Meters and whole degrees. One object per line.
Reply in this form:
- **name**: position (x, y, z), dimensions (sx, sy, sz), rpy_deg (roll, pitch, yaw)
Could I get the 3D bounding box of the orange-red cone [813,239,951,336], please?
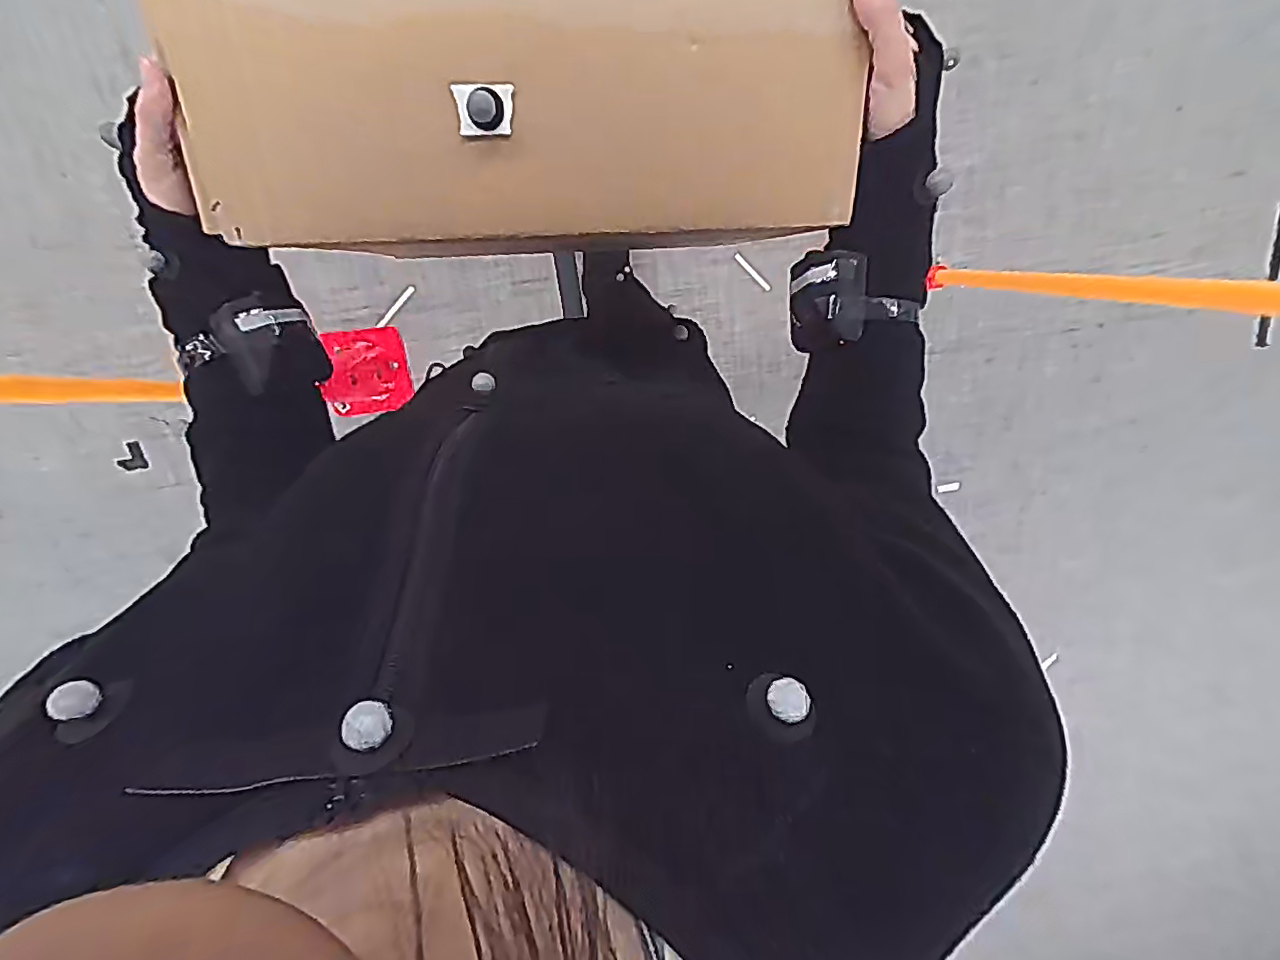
- **orange-red cone**: position (0.547, -0.420, 1.170), dimensions (0.199, 0.360, 0.198), rpy_deg (-18, 109, -1)
